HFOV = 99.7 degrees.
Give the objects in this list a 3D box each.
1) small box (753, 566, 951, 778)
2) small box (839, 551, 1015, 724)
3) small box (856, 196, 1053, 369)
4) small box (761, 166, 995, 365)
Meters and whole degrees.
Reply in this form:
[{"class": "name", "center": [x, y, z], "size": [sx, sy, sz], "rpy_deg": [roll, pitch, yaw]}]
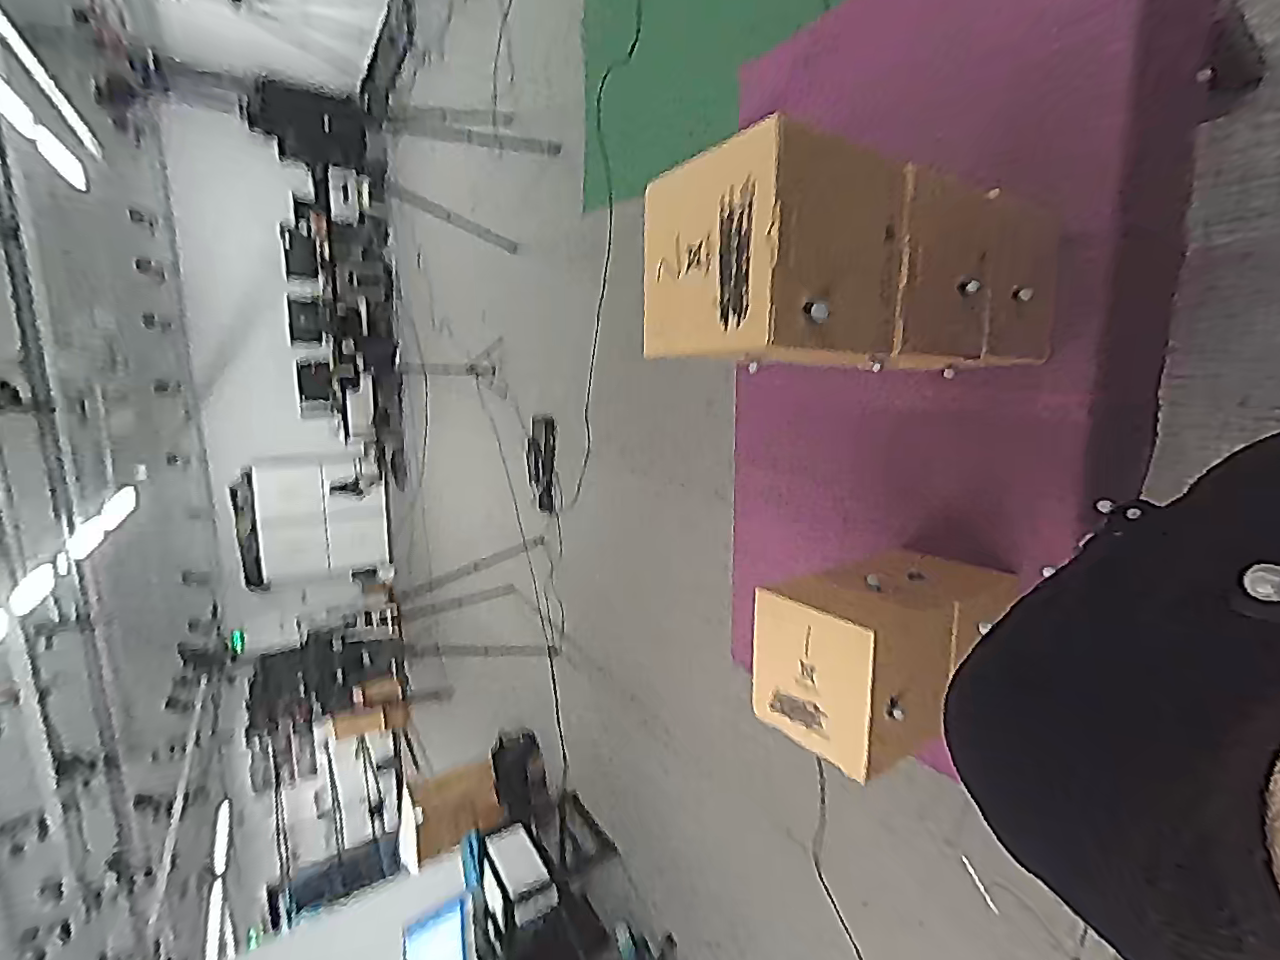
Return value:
[{"class": "small box", "center": [0.262, 0.220, 0.675], "size": [0.168, 0.176, 0.179], "rpy_deg": [11, 103, 55]}, {"class": "small box", "center": [0.398, 0.205, 0.767], "size": [0.179, 0.176, 0.168], "rpy_deg": [12, 104, 55]}, {"class": "small box", "center": [0.400, -0.236, 0.696], "size": [0.168, 0.176, 0.179], "rpy_deg": [10, 104, 55]}, {"class": "small box", "center": [0.261, -0.220, 0.612], "size": [0.179, 0.176, 0.168], "rpy_deg": [12, 105, 55]}]
